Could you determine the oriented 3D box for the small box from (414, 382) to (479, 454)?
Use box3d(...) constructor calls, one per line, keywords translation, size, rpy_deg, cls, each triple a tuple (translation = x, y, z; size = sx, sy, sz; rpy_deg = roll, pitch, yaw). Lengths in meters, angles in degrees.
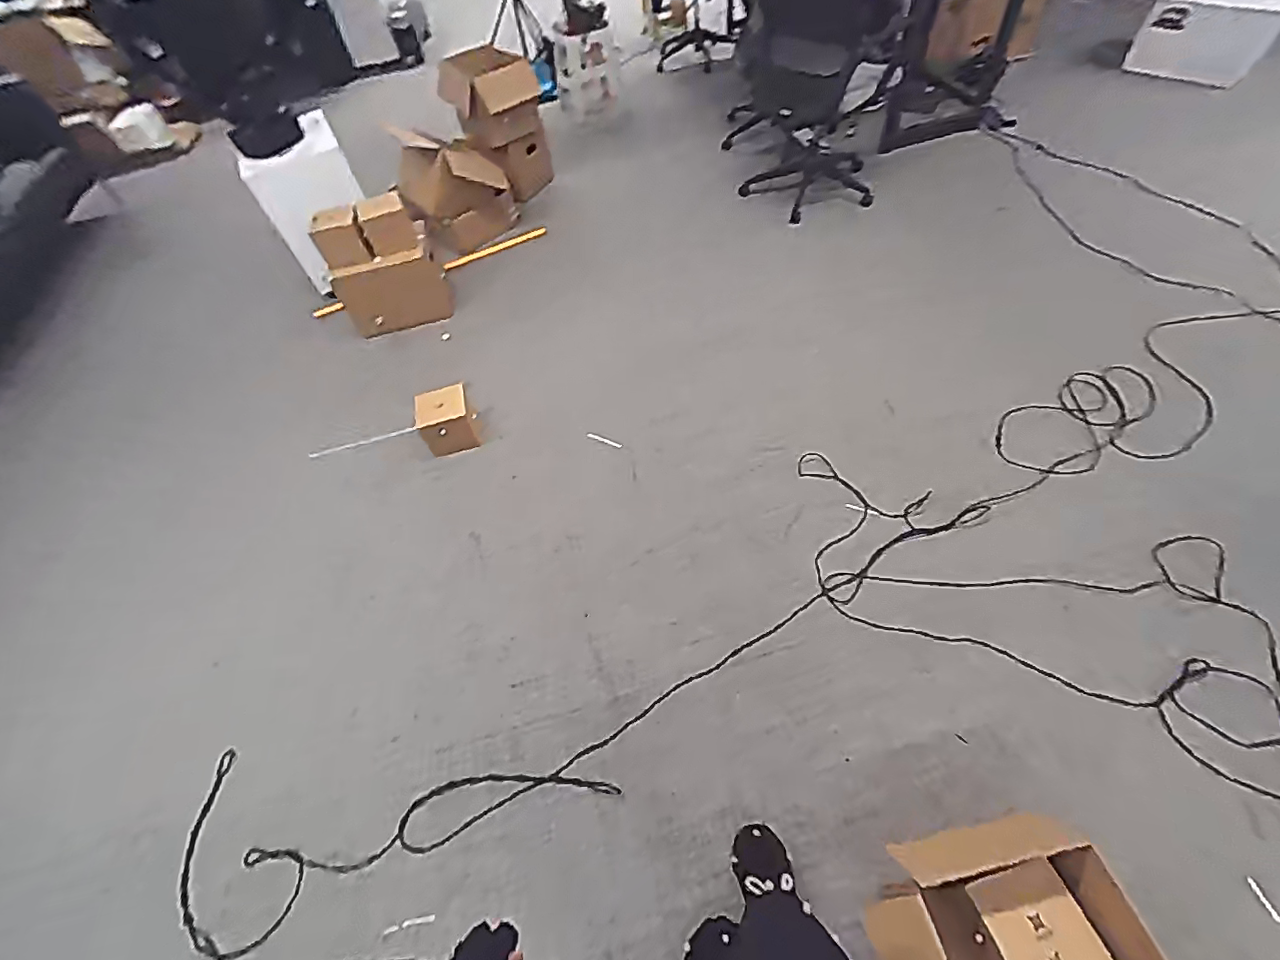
box3d(translation=(-0.692, -0.221, 1.946), size=(0.179, 0.176, 0.168), rpy_deg=(-17, 55, -4), cls="small box")
